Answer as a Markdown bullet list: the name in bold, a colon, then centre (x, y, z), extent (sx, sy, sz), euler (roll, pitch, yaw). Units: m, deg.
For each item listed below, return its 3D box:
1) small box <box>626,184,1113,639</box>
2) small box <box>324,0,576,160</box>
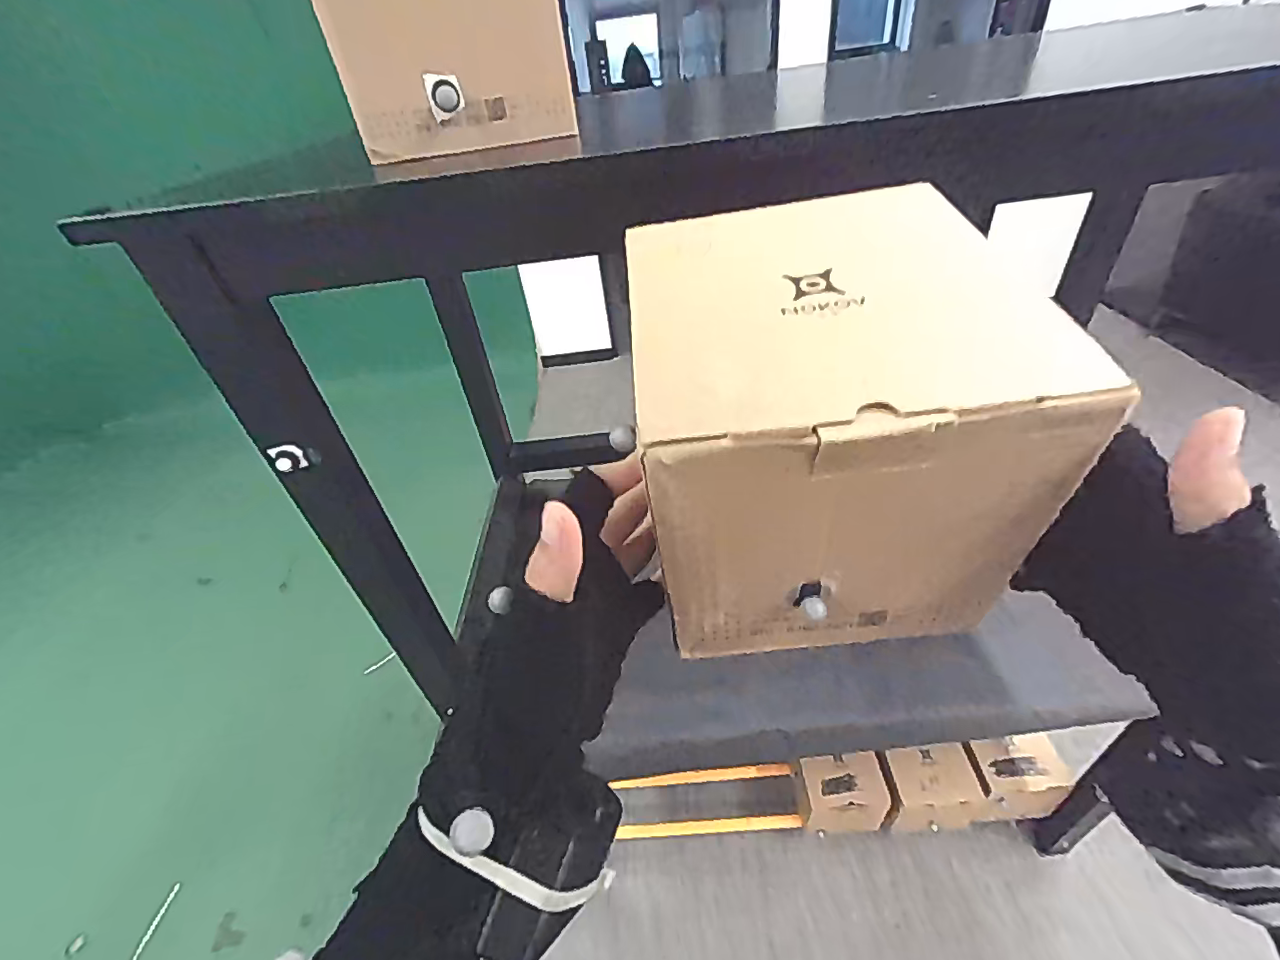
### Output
- **small box**: centre (0.084, -0.035, 0.300), extent (0.168, 0.176, 0.179), euler (-7, 47, 4)
- **small box**: centre (-0.156, -0.379, 0.450), extent (0.168, 0.176, 0.179), euler (-14, 39, -6)
